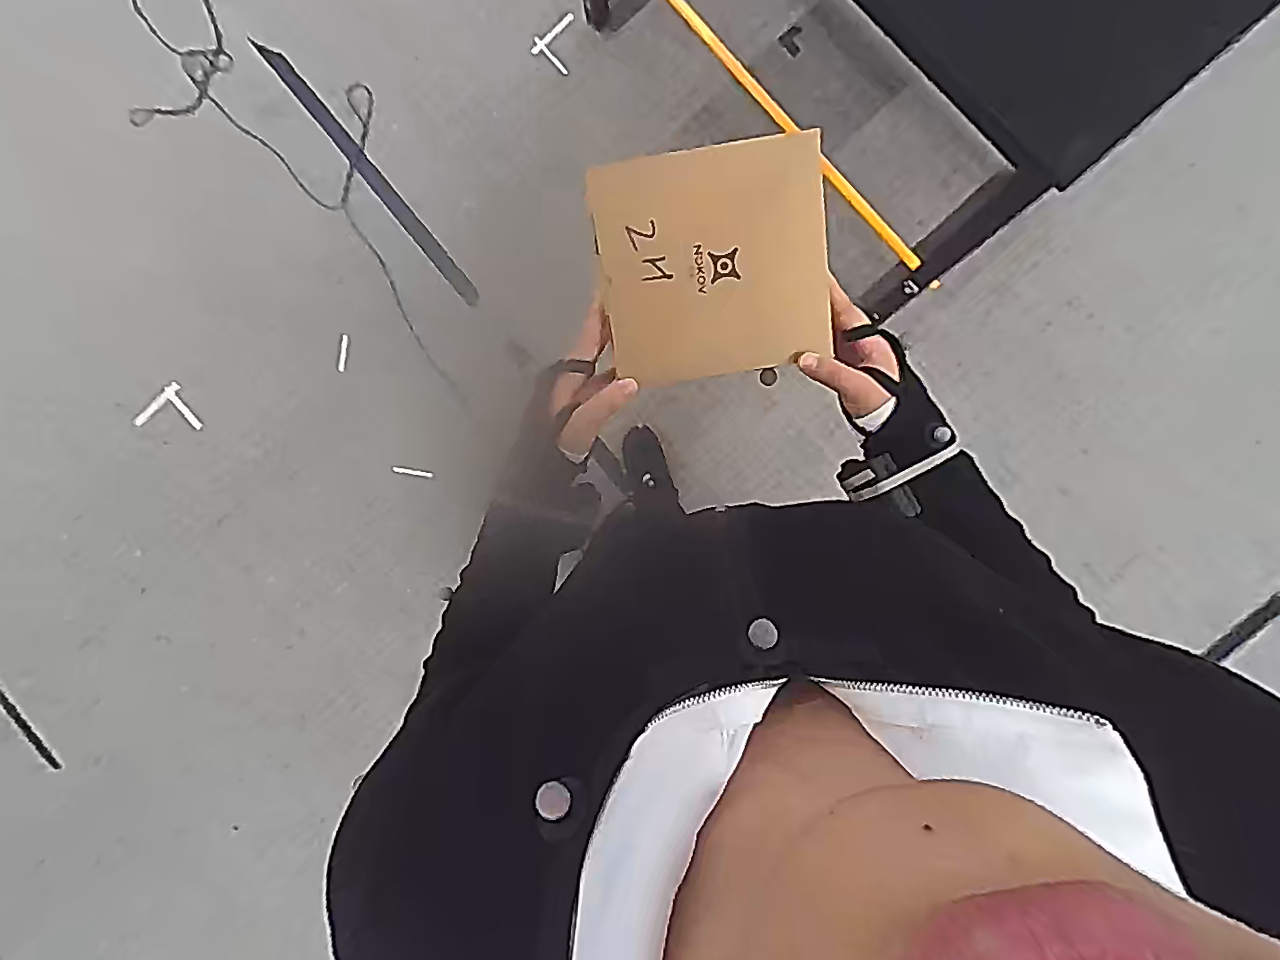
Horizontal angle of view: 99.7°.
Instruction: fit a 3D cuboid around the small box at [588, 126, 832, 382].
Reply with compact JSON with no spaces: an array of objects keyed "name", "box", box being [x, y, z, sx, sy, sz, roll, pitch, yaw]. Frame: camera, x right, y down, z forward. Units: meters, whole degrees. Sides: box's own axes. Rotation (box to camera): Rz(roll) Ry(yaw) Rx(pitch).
[{"name":"small box","box":[0.057,-0.188,0.491,0.179,0.176,0.168,-8,103,3]}]
